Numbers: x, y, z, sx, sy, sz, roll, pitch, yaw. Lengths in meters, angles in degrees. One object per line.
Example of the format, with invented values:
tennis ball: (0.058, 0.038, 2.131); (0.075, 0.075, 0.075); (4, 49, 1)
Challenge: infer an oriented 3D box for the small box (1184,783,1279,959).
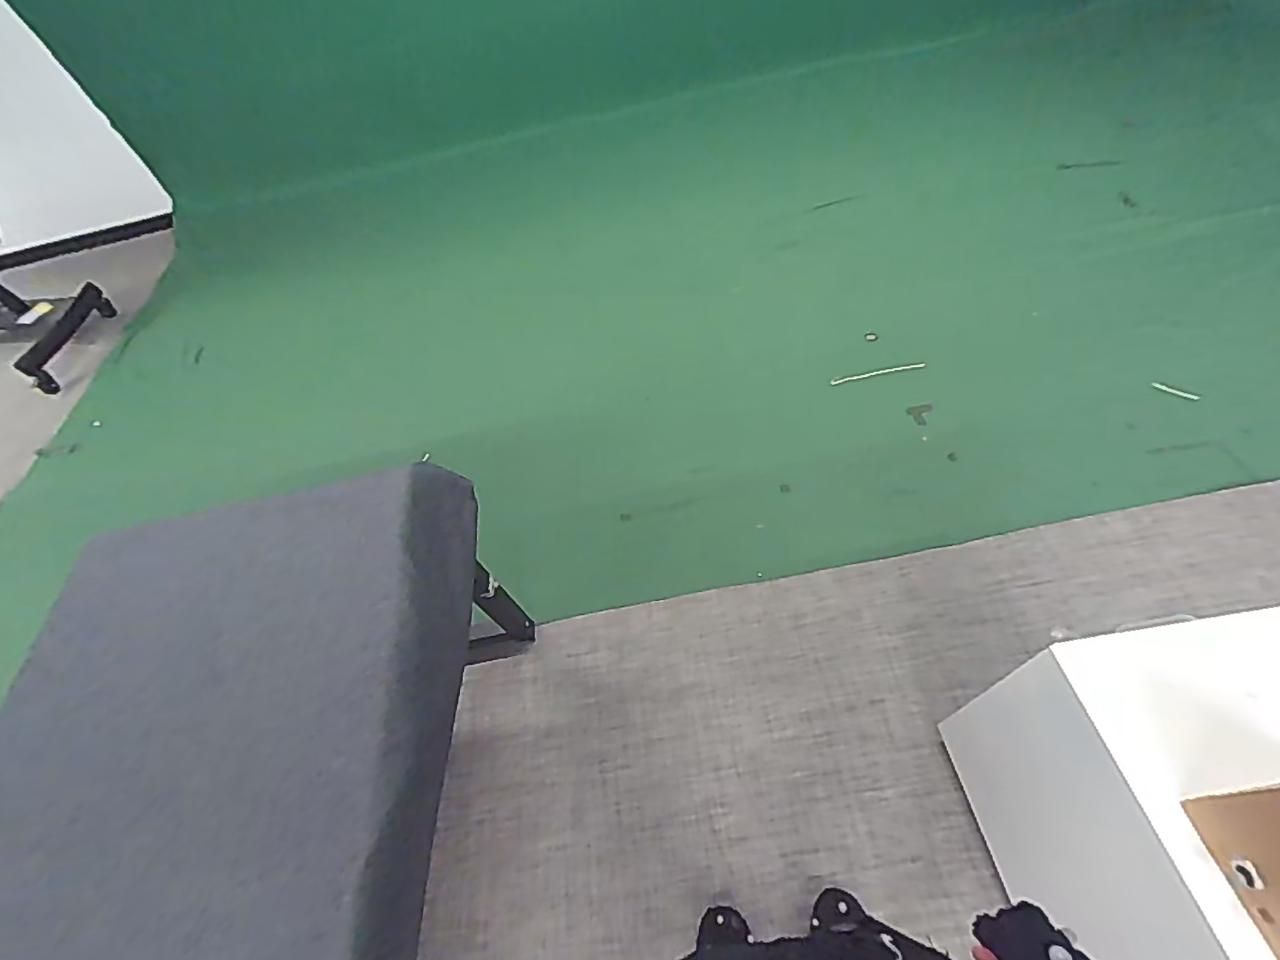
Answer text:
small box: (0.698, 0.374, 0.507); (0.179, 0.176, 0.168); (-14, 53, 4)
